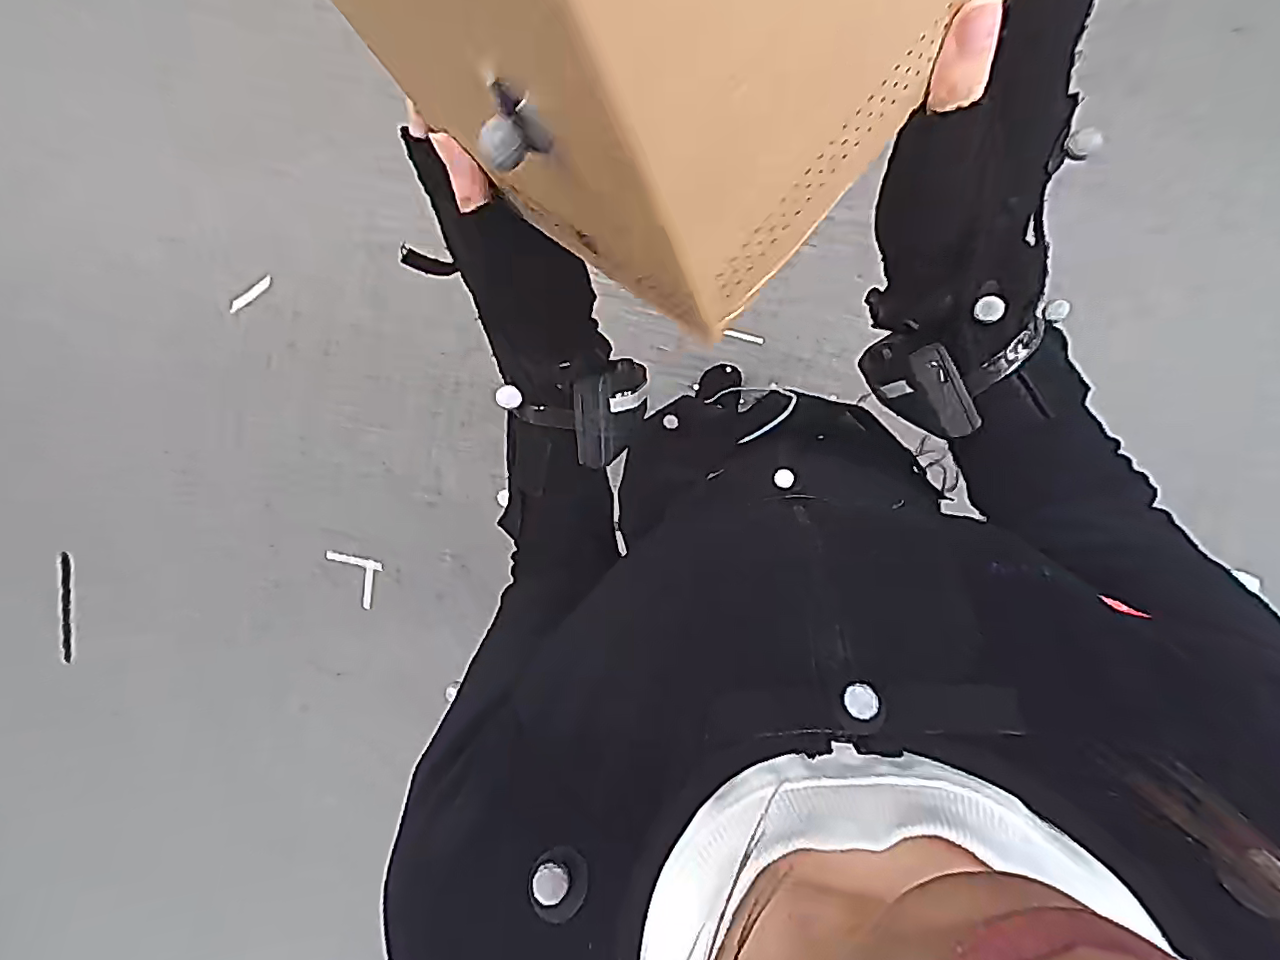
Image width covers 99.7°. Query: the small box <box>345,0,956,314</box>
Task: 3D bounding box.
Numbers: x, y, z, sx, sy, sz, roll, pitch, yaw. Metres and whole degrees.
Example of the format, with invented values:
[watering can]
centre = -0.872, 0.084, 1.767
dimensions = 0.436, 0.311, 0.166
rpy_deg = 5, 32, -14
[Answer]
[small box]
centre = 0.003, -0.193, 0.187
dimensions = 0.168, 0.176, 0.179
rpy_deg = 39, 90, 24
